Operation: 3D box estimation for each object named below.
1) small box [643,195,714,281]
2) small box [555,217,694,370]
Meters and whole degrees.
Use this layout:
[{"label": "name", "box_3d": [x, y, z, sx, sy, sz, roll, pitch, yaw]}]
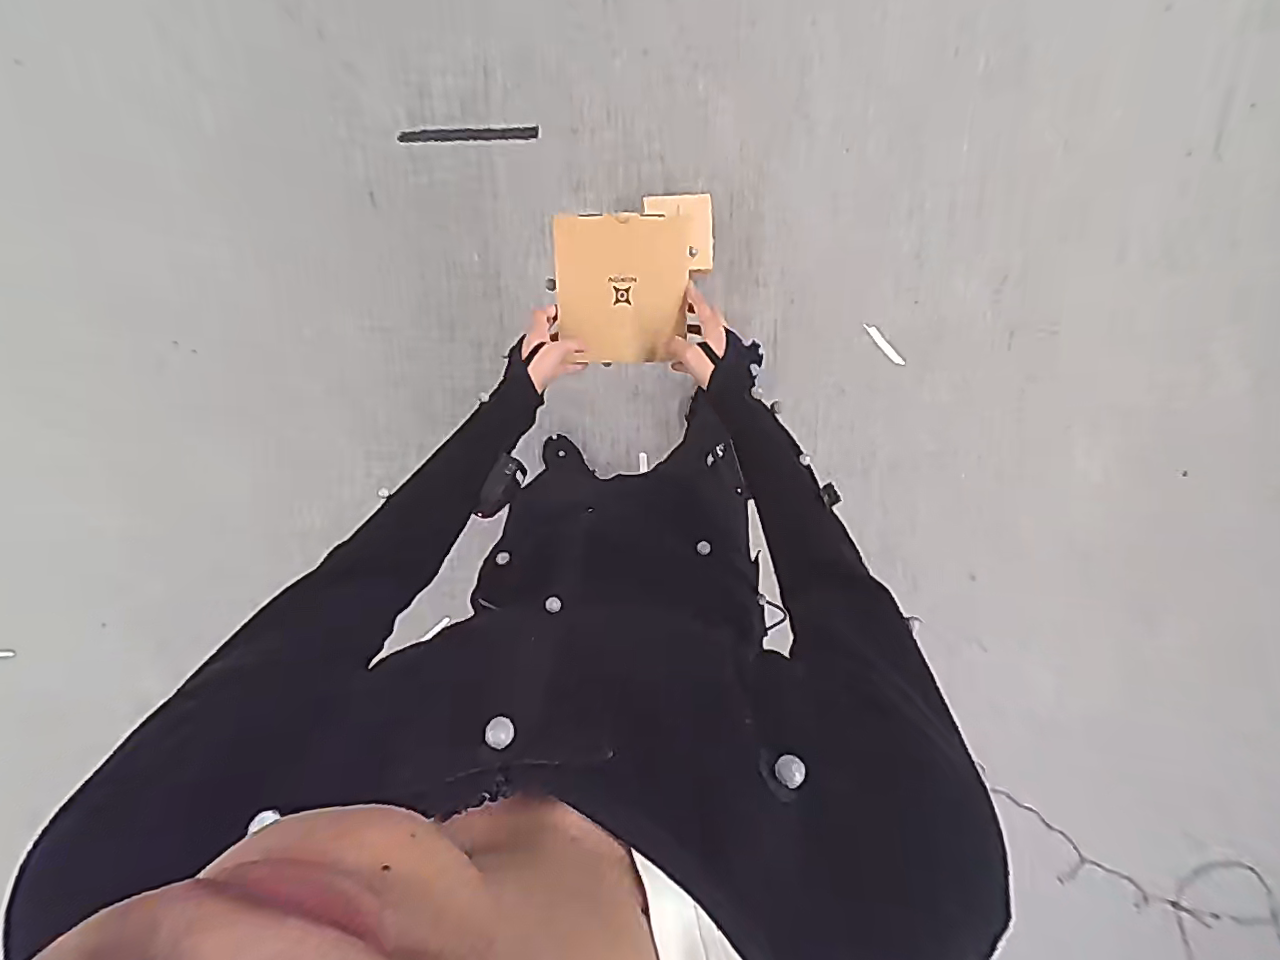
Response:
[{"label": "small box", "box_3d": [0.095, -0.608, 1.384, 0.168, 0.176, 0.179, -4, 101, -1]}, {"label": "small box", "box_3d": [-0.021, -0.248, 0.729, 0.168, 0.176, 0.179, -1, 109, -3]}]
